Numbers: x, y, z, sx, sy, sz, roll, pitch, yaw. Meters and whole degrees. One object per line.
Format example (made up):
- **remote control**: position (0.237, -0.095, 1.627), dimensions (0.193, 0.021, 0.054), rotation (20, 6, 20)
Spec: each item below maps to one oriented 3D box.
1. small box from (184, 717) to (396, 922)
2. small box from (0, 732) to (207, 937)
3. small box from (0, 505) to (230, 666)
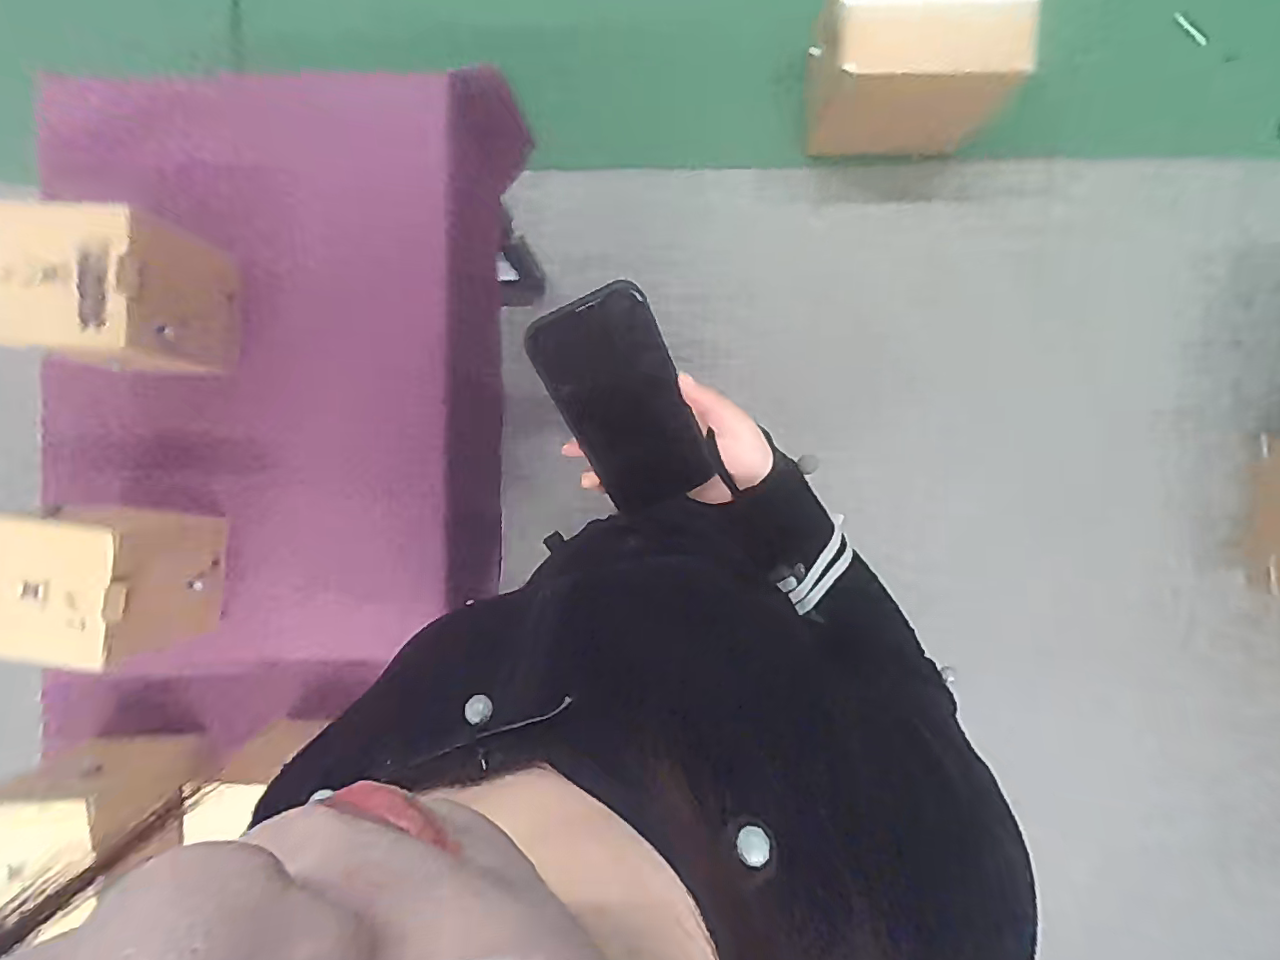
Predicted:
- **small box**: position (-0.437, 0.425, 0.703), dimensions (0.179, 0.176, 0.168), rotation (-1, 90, 4)
- **small box**: position (-0.715, 0.451, 0.714), dimensions (0.179, 0.176, 0.168), rotation (-4, 90, 1)
- **small box**: position (-0.696, 0.125, 0.710), dimensions (0.179, 0.176, 0.168), rotation (7, 91, 2)
